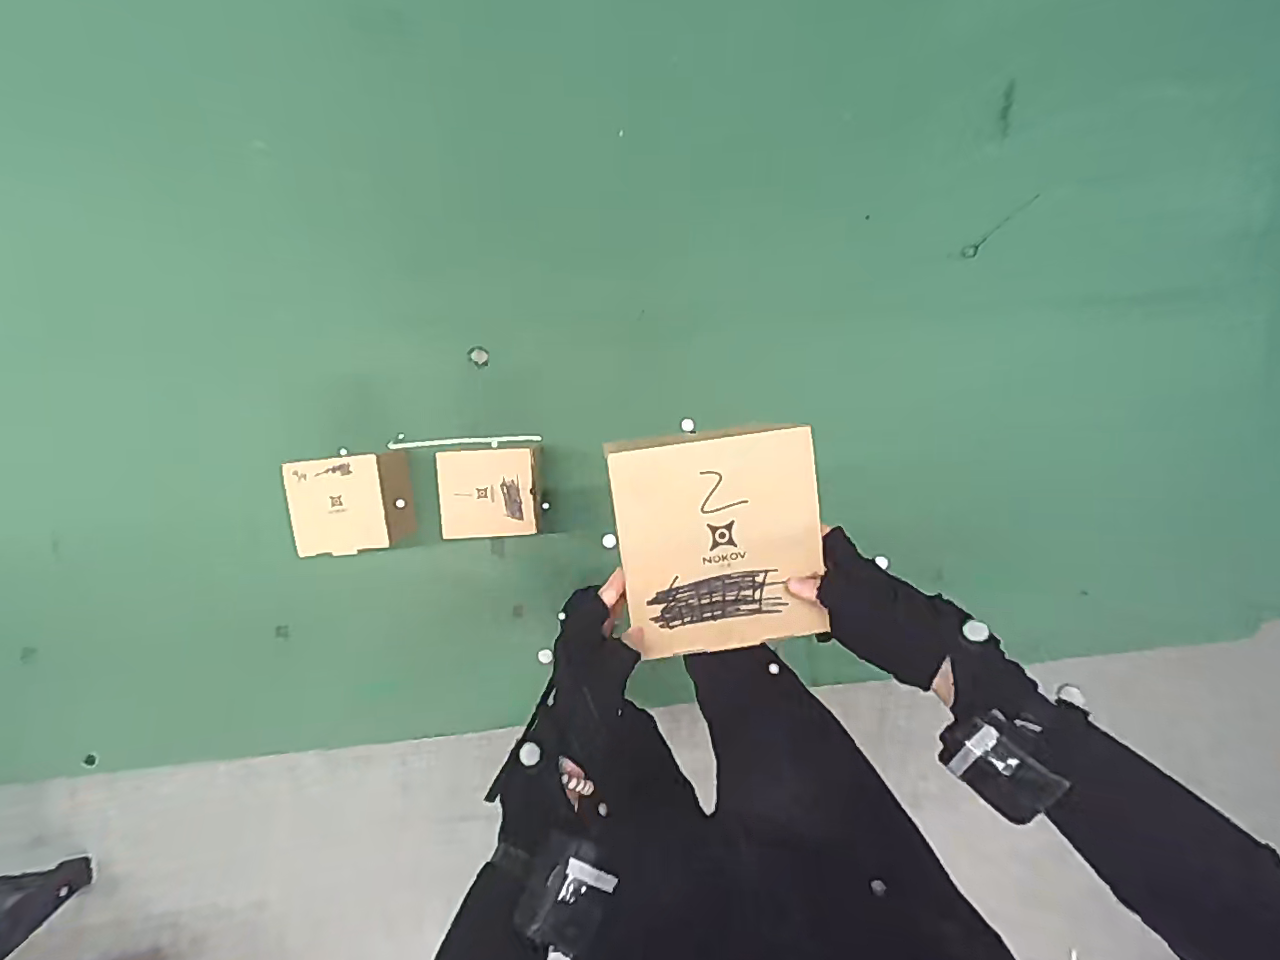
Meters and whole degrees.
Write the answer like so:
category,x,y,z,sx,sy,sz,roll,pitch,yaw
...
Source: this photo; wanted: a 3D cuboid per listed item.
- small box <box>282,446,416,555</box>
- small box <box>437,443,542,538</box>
category,x,y,z,sx,sy,sz,roll,pitch,yaw
small box,-0.554,0.034,1.055,0.168,0.176,0.179,-6,98,-4
small box,-0.289,0.015,1.077,0.179,0.176,0.168,-2,97,-5
